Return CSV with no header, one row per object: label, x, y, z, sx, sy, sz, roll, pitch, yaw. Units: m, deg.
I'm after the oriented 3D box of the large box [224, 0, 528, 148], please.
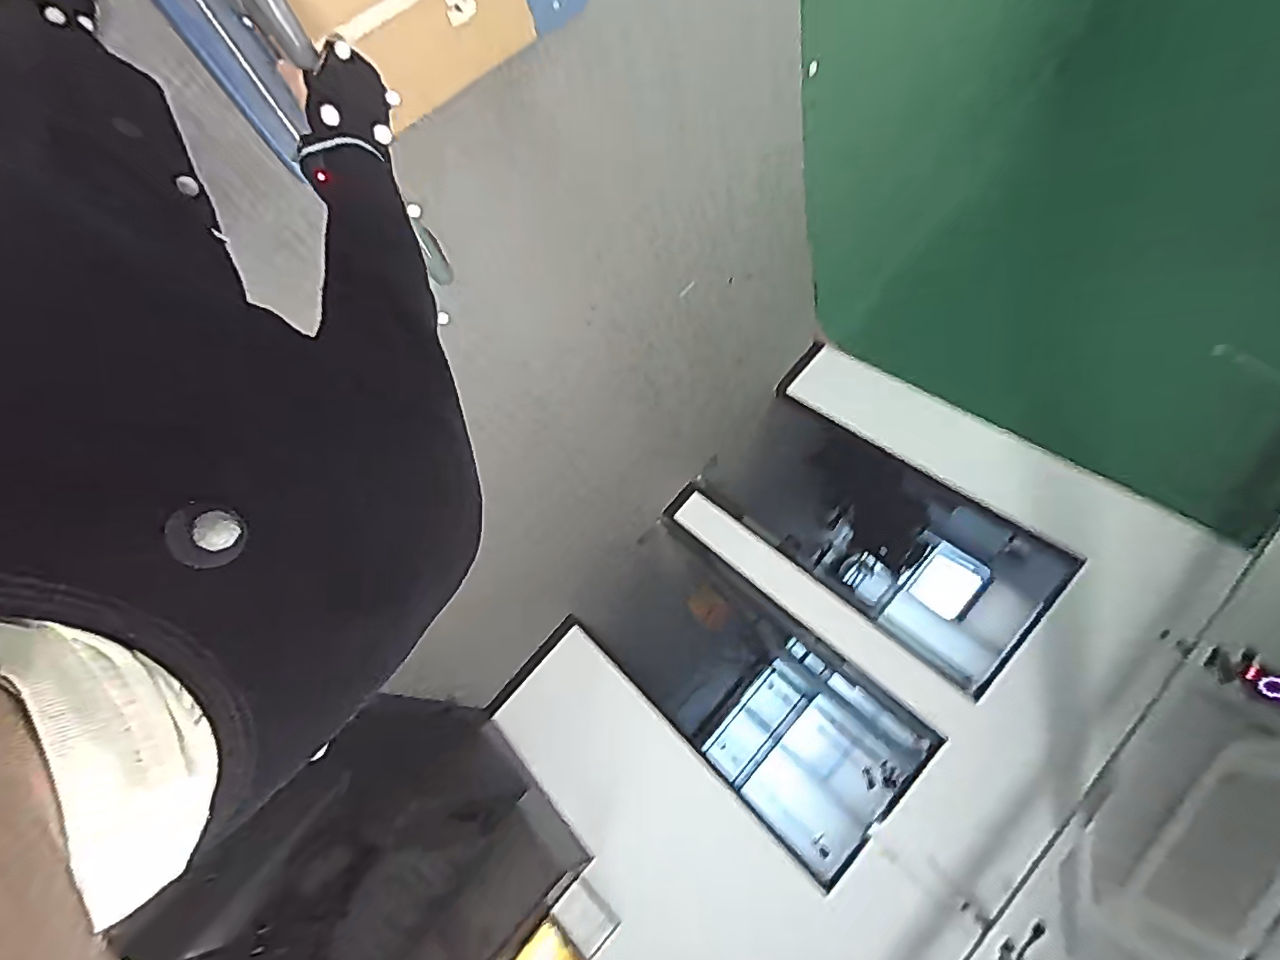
large box,-0.492,-0.888,0.970,0.408,0.320,0.320,-45,150,-13
